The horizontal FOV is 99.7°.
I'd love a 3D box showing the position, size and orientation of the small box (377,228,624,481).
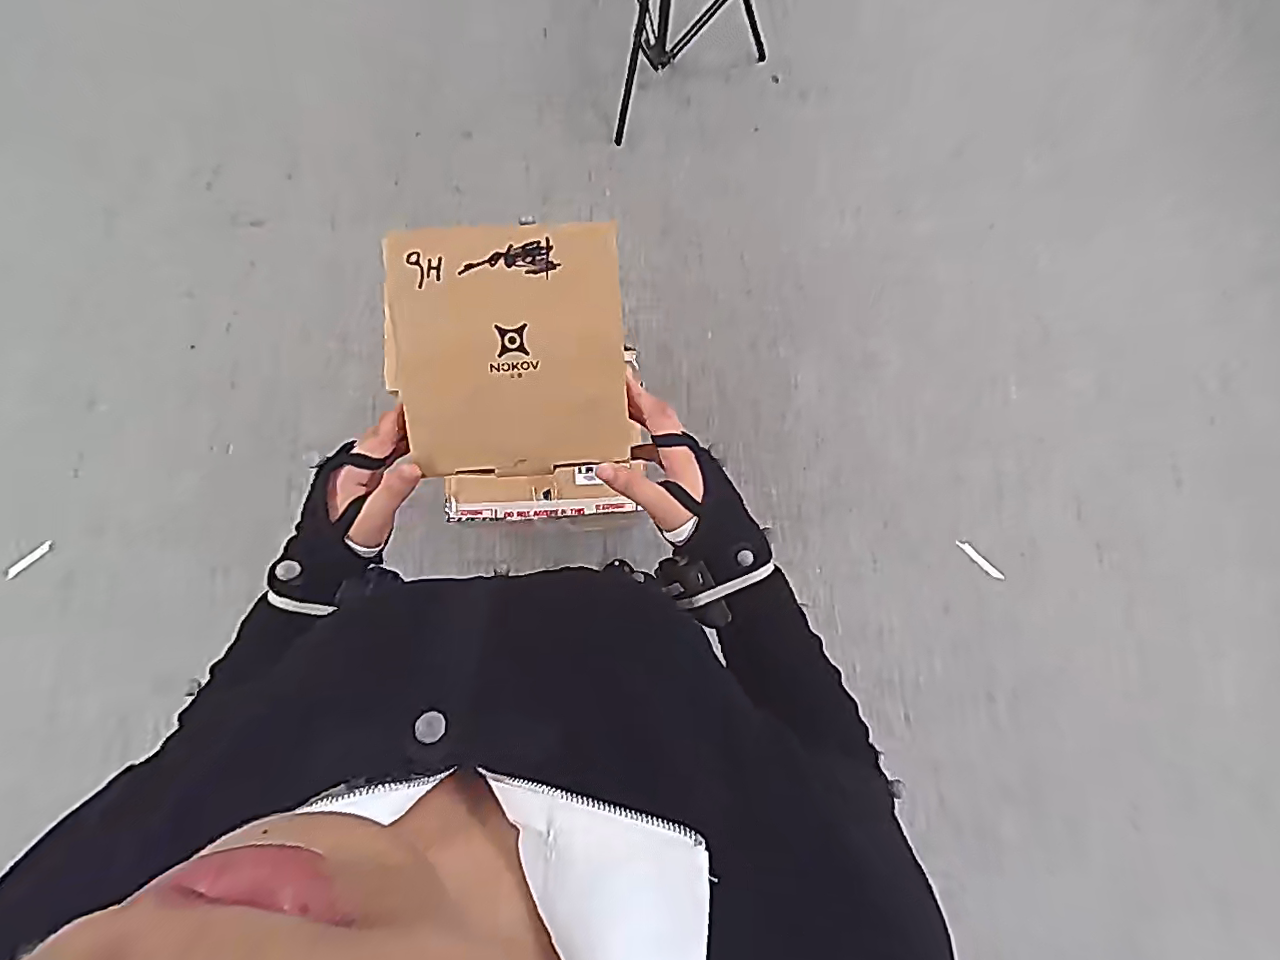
[{"bbox_3d":[-0.101,-0.105,0.472,0.168,0.176,0.179,-4,101,-4],"label":"small box"}]
